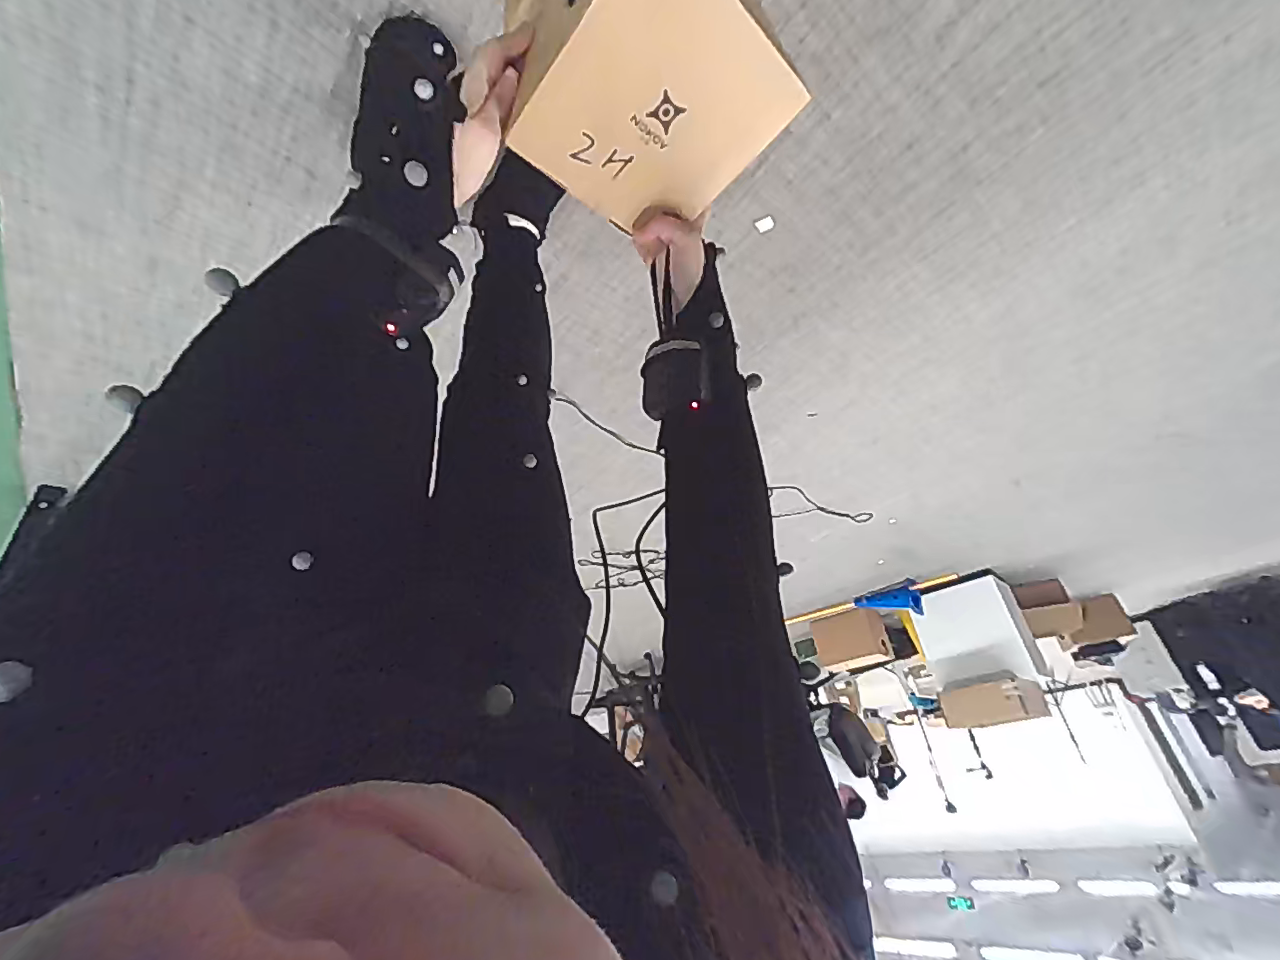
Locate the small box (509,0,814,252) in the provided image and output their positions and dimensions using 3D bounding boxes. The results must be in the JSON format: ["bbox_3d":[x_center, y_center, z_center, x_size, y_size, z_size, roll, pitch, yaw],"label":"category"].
[{"bbox_3d":[0.006,-0.340,0.443,0.168,0.176,0.179,21,140,-37],"label":"small box"}]
